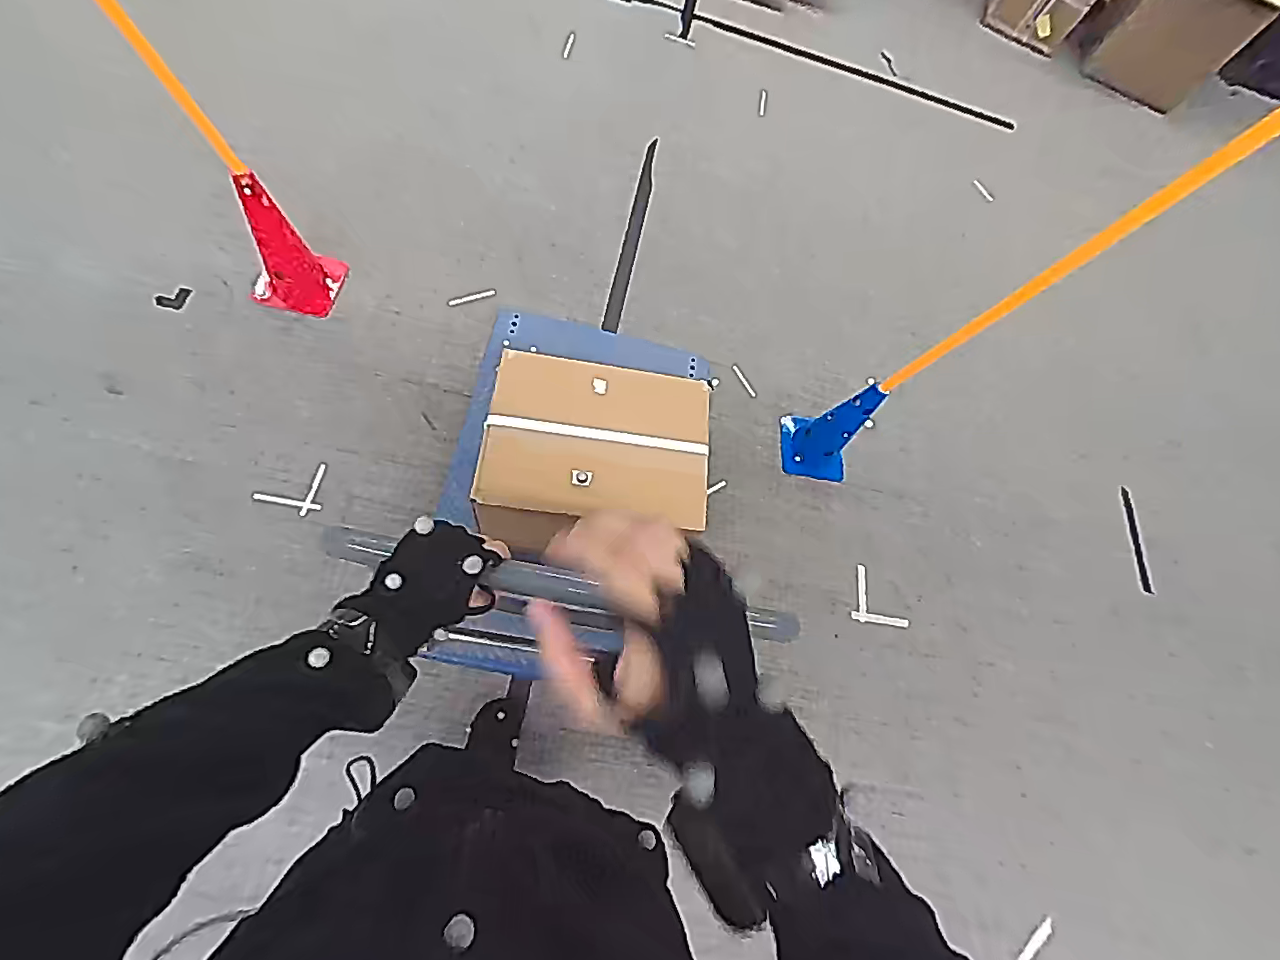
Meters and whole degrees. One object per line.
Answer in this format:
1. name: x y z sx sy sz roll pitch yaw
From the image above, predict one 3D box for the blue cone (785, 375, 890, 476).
1. blue cone: 0.566 -0.165 1.498 0.193 0.380 0.192 10 66 -9
